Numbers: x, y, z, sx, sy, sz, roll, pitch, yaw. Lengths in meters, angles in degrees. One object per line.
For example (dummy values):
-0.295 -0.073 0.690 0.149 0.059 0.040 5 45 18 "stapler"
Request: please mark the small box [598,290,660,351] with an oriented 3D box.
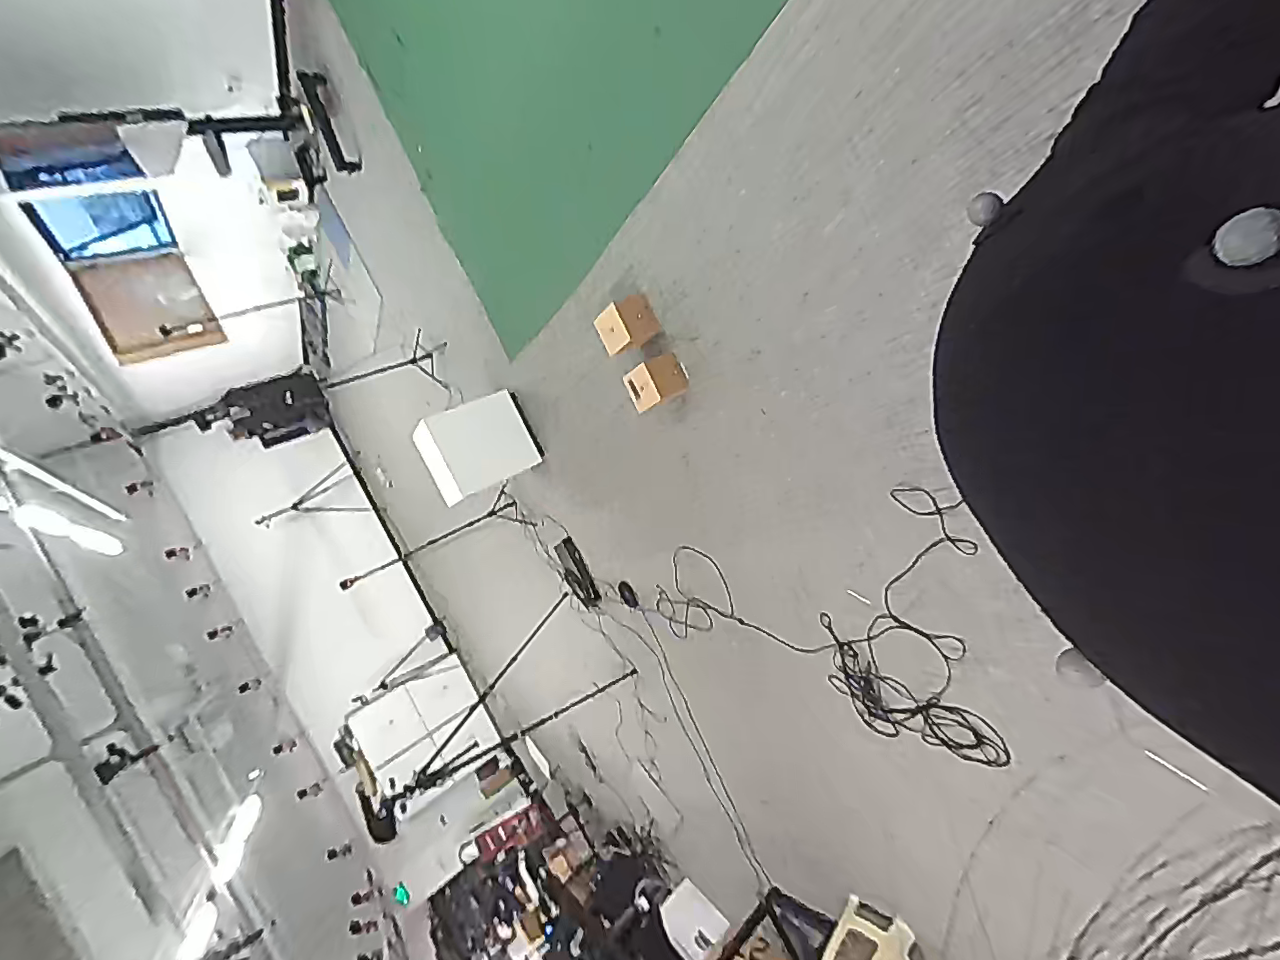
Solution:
-0.038 -0.654 2.211 0.179 0.176 0.168 -22 94 57 "small box"
